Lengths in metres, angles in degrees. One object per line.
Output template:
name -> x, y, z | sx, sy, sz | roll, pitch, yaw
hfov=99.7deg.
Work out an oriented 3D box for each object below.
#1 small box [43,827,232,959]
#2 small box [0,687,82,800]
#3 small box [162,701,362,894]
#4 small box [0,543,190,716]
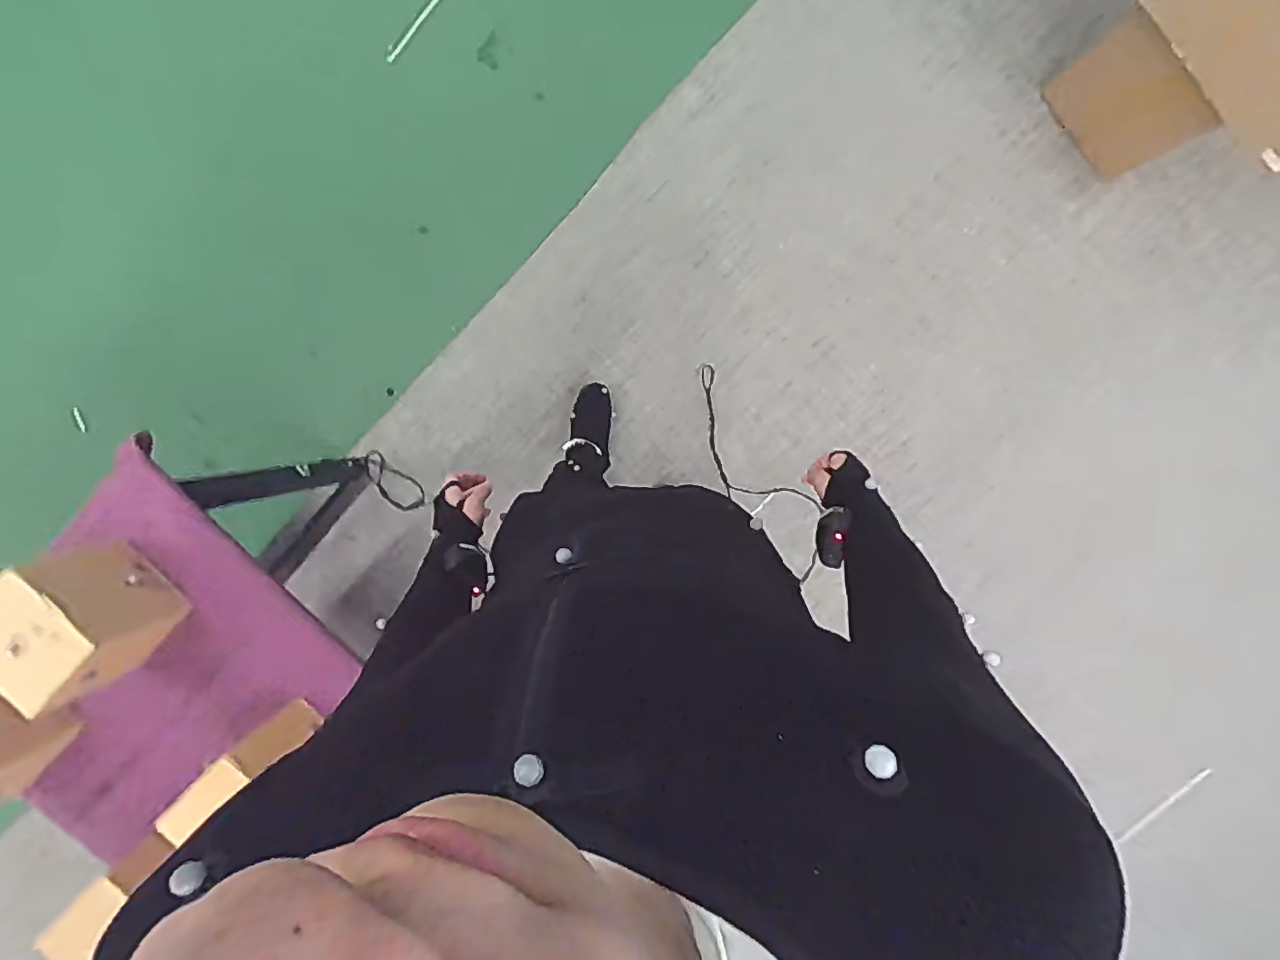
small box -> -0.823, 0.716, 0.926 | 0.179, 0.176, 0.168 | -44, 93, 5
small box -> -1.123, 0.454, 0.908 | 0.168, 0.176, 0.179 | 44, 95, -4
small box -> -0.606, 0.510, 0.892 | 0.179, 0.176, 0.168 | -44, 92, 7
small box -> -0.896, 0.229, 0.872 | 0.179, 0.176, 0.168 | -43, 94, 8
